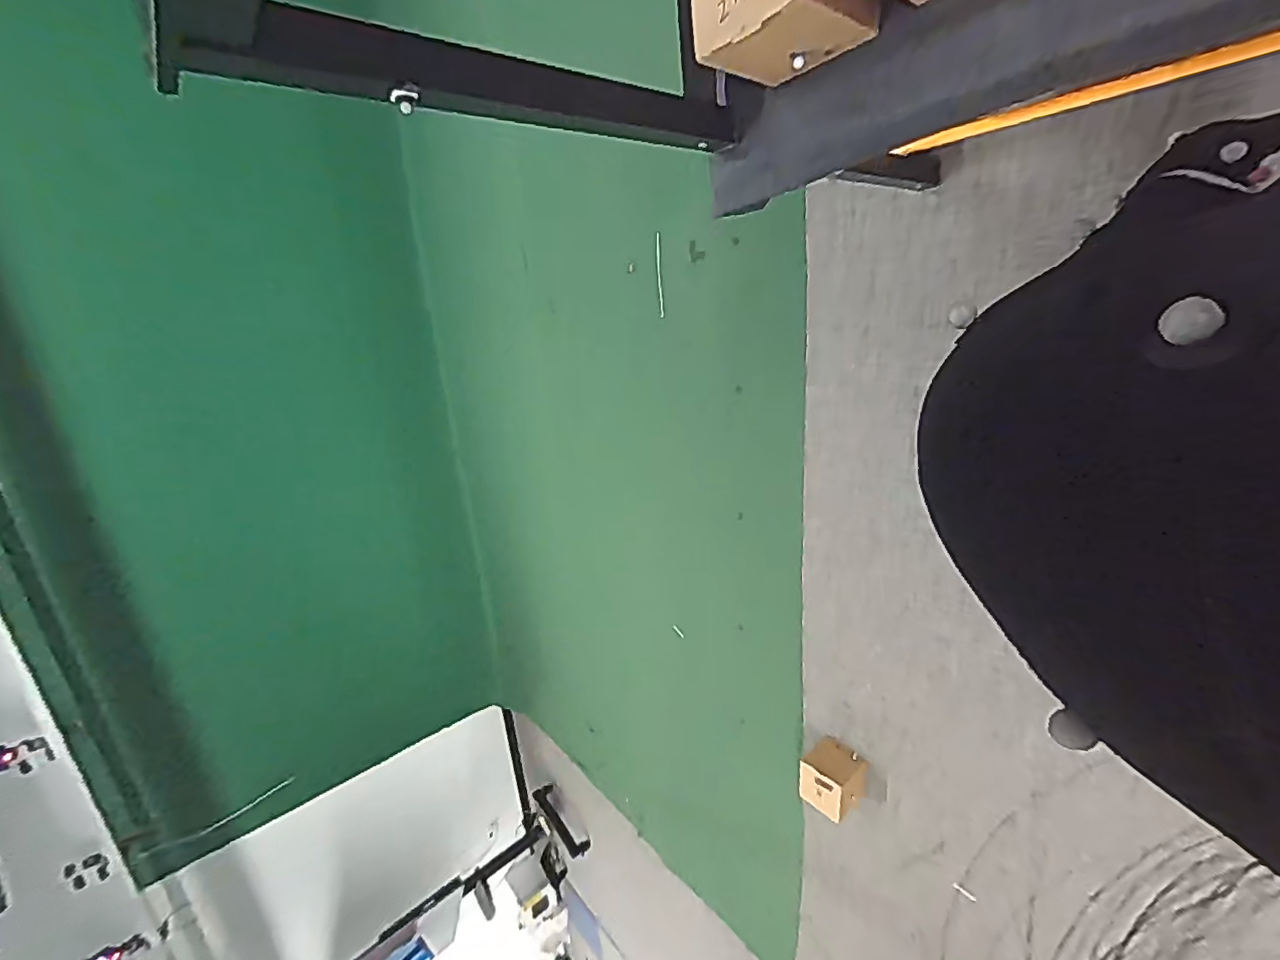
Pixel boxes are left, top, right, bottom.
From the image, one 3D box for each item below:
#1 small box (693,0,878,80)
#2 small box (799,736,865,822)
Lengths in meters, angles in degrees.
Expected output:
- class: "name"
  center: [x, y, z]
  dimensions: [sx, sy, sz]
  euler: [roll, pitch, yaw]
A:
- class: "small box"
  center: [0.181, -0.642, 0.673]
  dimensions: [0.168, 0.176, 0.179]
  euler: [12, 114, 49]
- class: "small box"
  center: [0.698, 1.077, 1.964]
  dimensions: [0.168, 0.176, 0.179]
  euler: [18, 119, 48]
